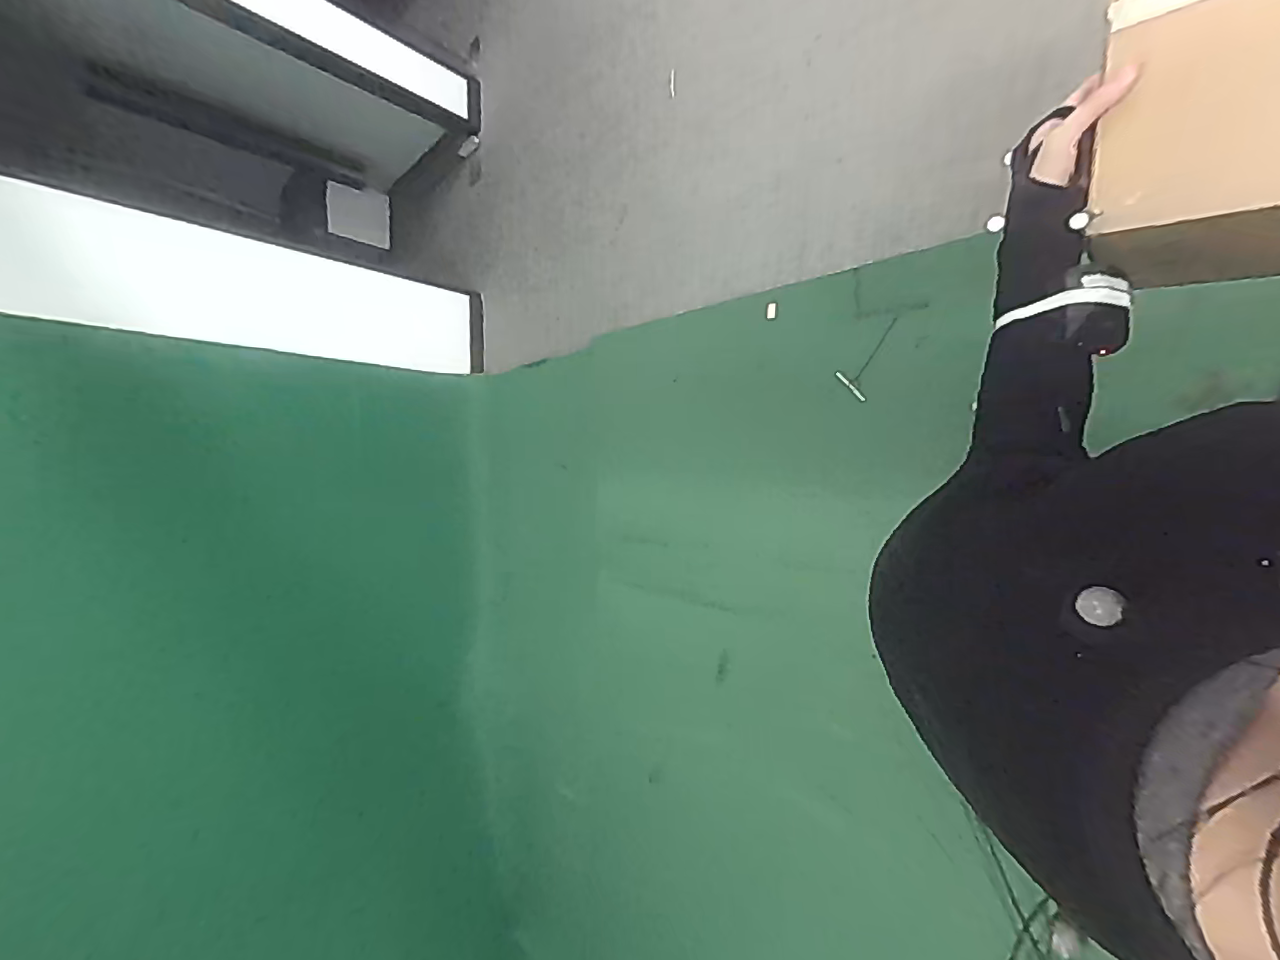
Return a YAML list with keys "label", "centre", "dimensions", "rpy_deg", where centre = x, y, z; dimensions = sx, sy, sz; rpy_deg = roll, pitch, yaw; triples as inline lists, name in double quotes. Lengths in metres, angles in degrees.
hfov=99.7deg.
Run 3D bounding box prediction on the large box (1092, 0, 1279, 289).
- label: "large box"
  centre: [0.622, -0.350, 0.401]
  dimensions: [0.408, 0.320, 0.320]
  rpy_deg: [7, 99, 43]
